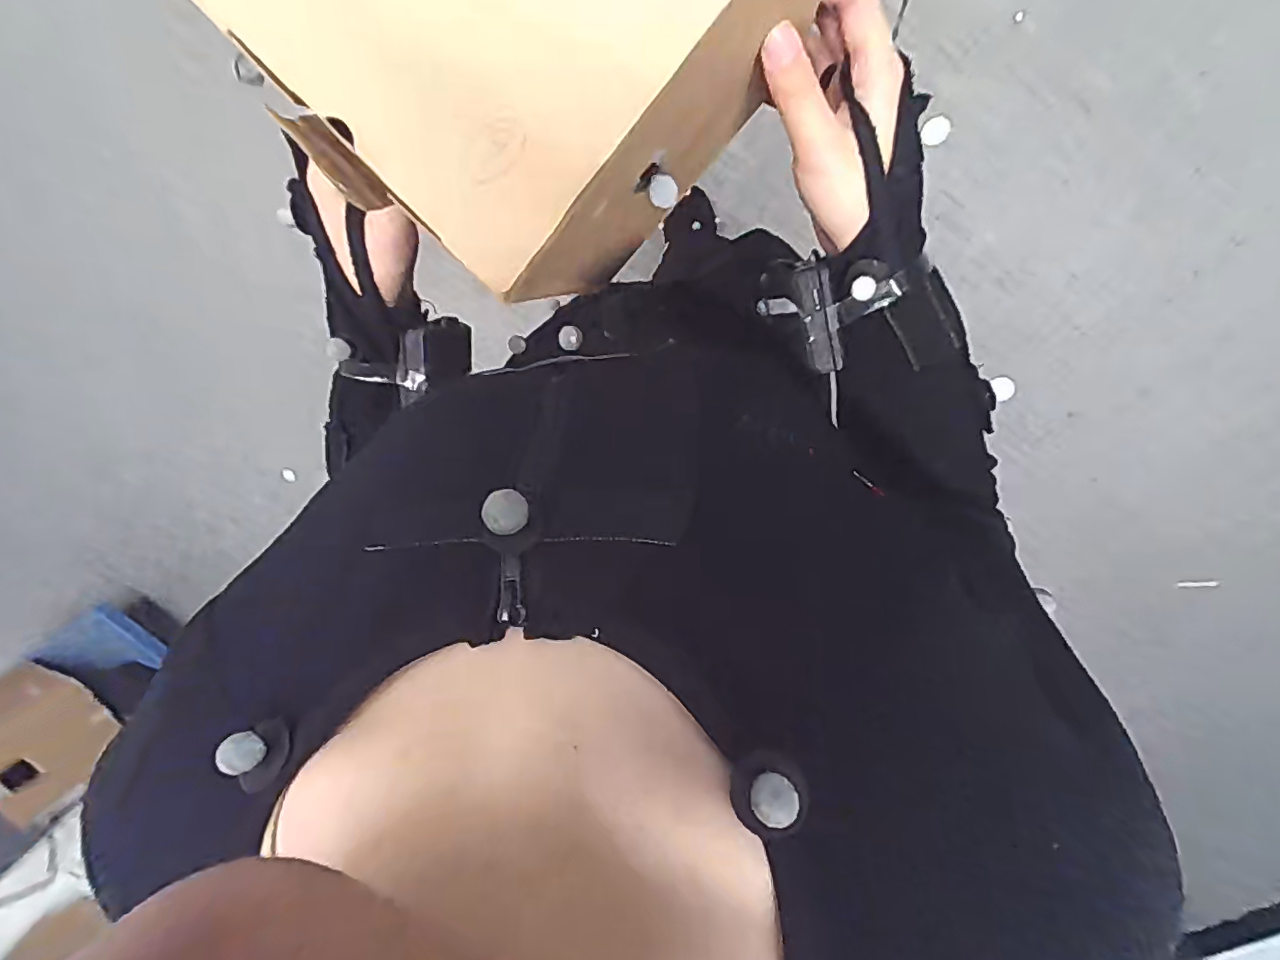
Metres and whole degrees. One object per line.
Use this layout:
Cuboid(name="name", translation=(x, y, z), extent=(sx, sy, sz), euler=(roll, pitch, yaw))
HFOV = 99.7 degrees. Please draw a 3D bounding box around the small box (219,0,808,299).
Cuboid(name="small box", translation=(-0.034, -0.212, 0.257), extent=(0.168, 0.176, 0.179), euler=(44, 112, -8))
